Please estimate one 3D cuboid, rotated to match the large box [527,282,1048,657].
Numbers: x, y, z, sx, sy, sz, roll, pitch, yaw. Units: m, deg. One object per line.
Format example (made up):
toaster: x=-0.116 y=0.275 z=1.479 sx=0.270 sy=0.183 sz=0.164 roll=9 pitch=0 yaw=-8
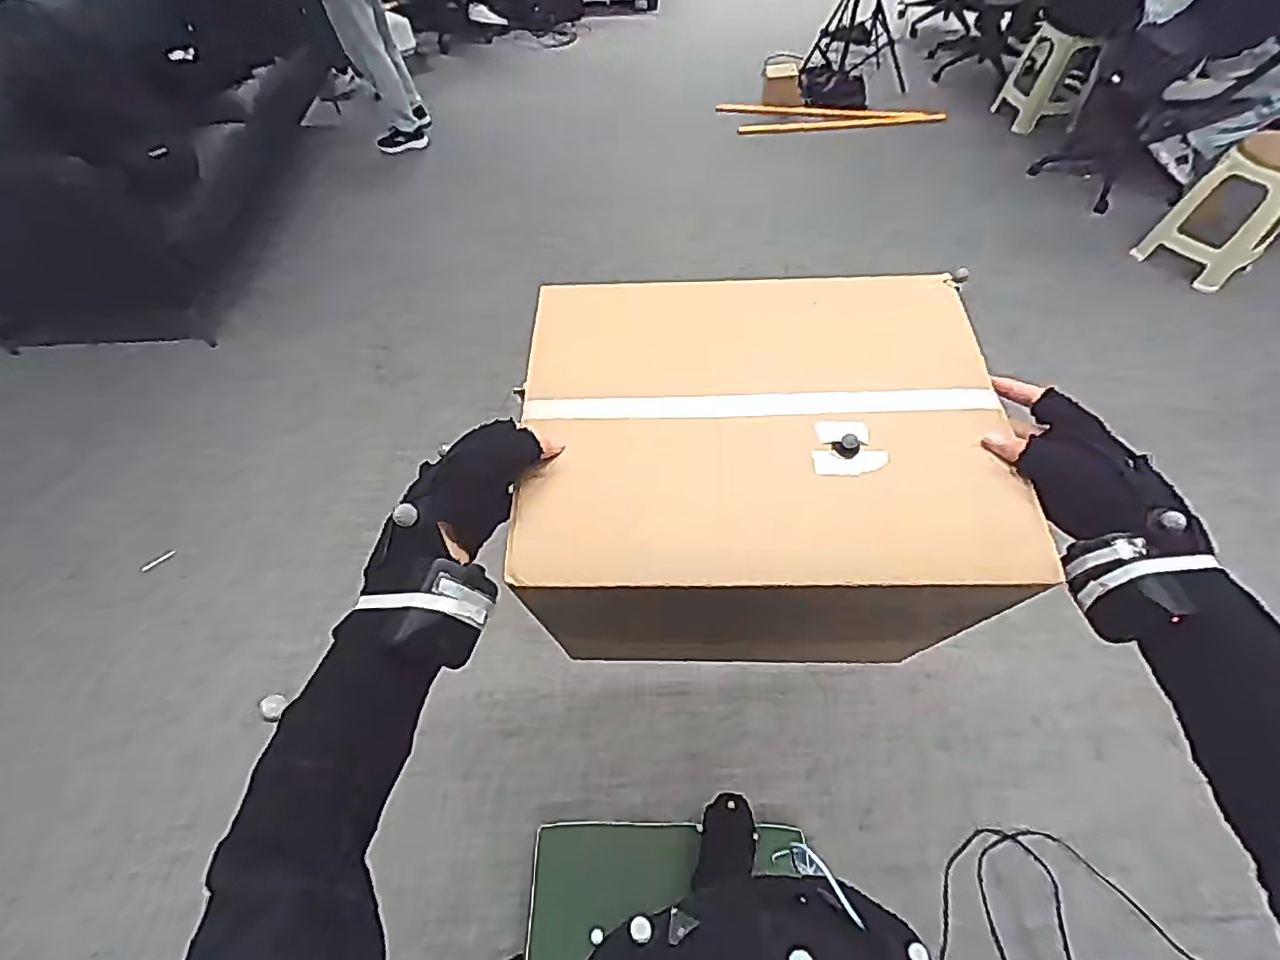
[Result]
large box: x=0.111 y=0.009 z=0.609 sx=0.408 sy=0.320 sz=0.320 roll=-1 pitch=62 yaw=2
